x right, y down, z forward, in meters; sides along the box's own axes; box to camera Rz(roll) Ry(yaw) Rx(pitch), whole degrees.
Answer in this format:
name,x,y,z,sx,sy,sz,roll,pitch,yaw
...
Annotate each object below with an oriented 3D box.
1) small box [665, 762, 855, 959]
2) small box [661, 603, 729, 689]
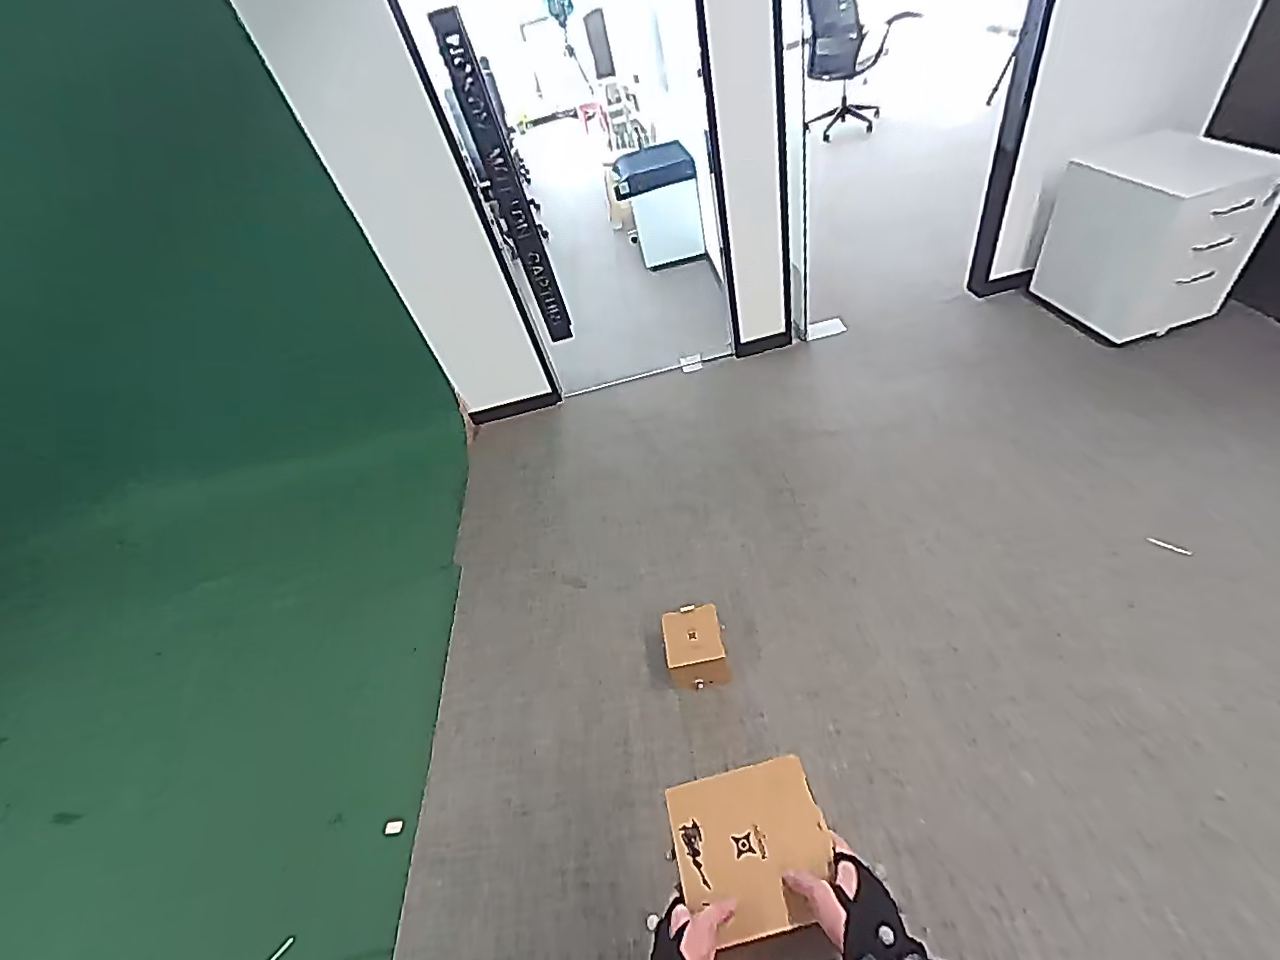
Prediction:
name,x,y,z,sx,sy,sz,roll,pitch,yaw
small box,0.138,0.481,0.659,0.179,0.176,0.168,-13,36,0
small box,0.163,0.495,1.608,0.168,0.176,0.179,-12,44,8
